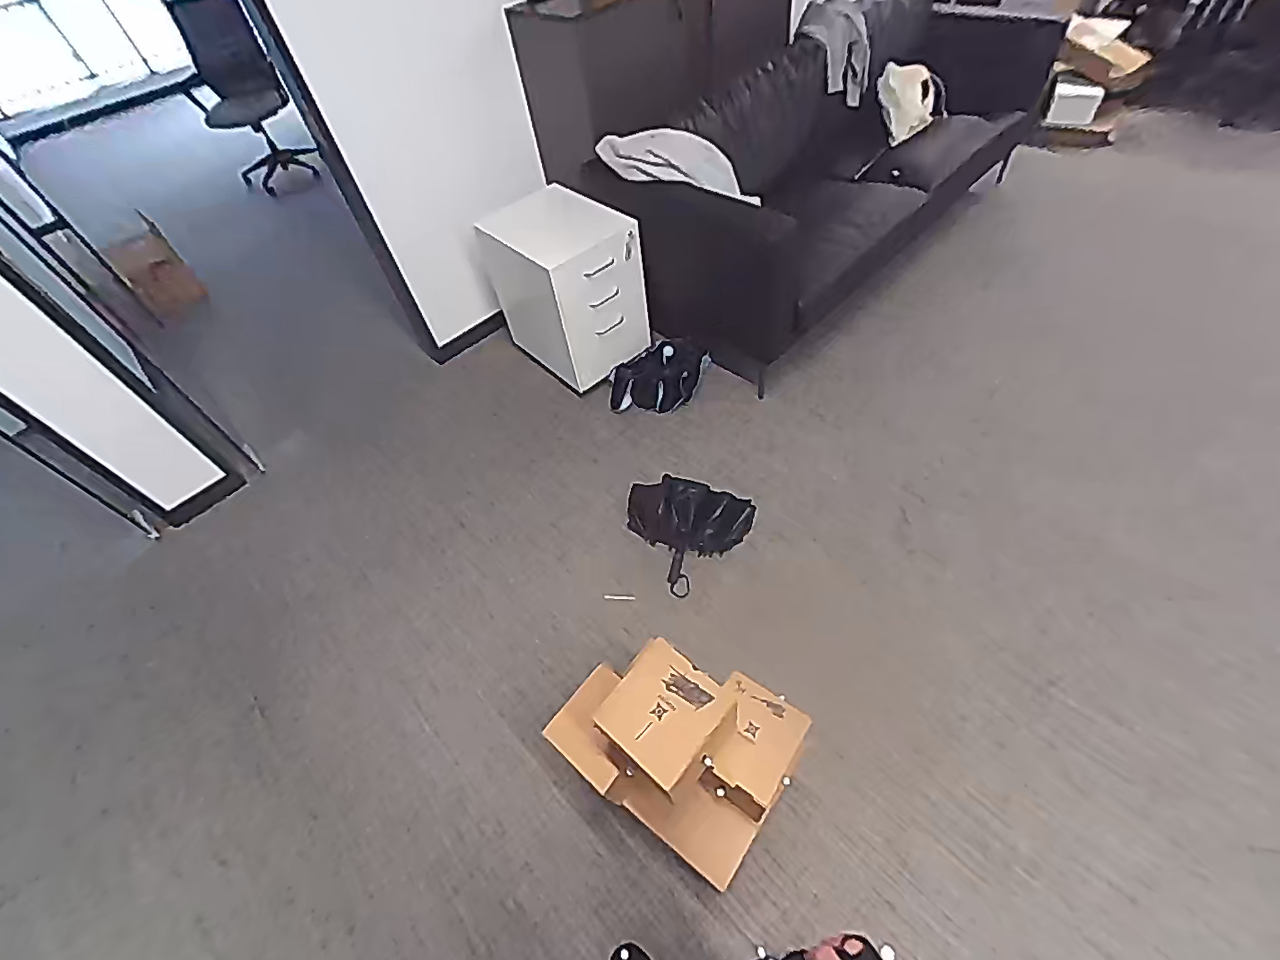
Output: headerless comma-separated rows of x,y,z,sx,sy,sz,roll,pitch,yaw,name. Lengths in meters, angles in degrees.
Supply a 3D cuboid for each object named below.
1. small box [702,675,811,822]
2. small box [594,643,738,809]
0.206,0.516,1.032,0.168,0.176,0.179,27,60,27,small box
0.049,0.420,0.921,0.168,0.176,0.179,32,64,30,small box
